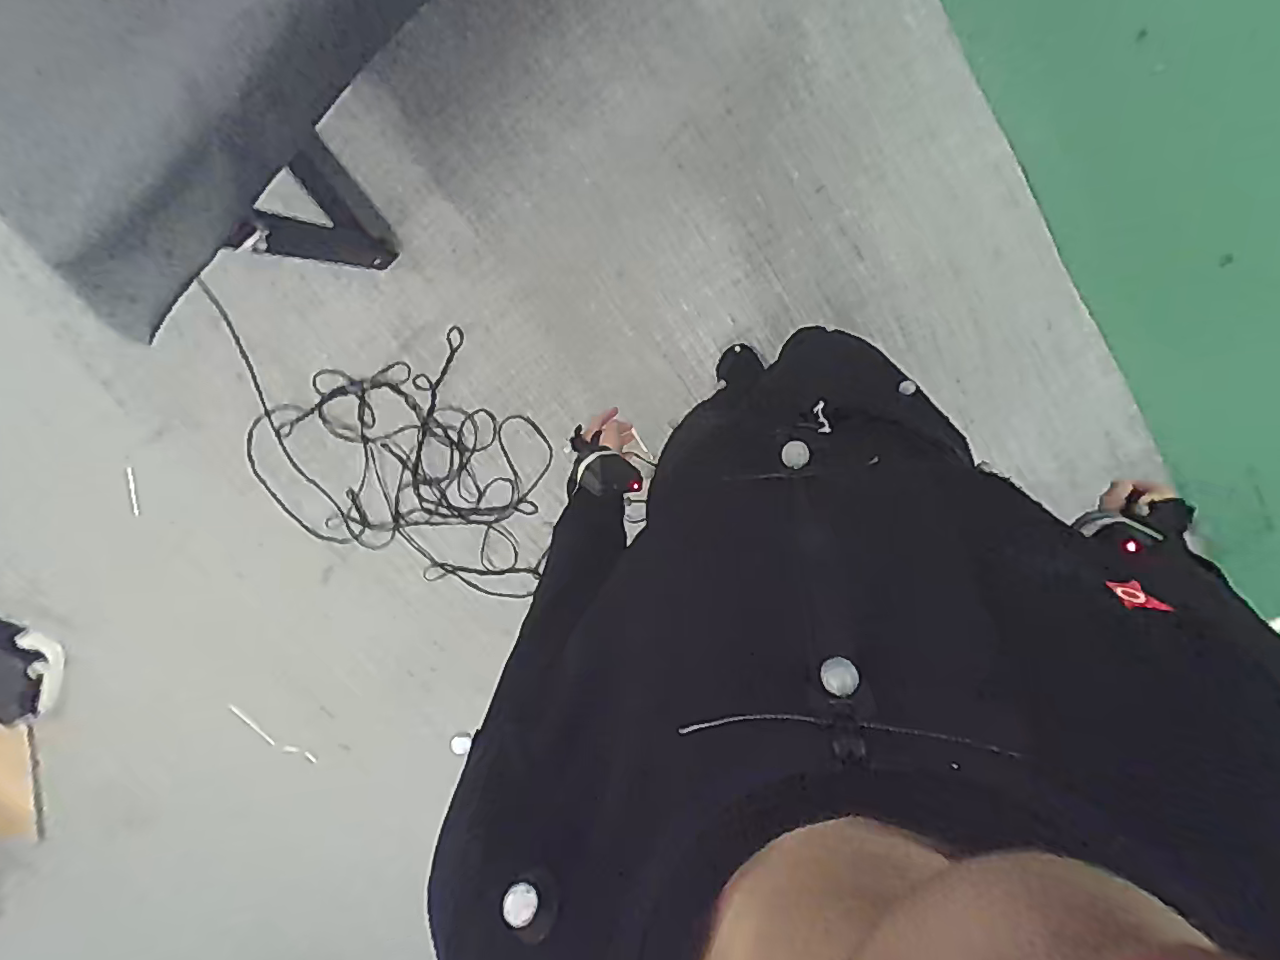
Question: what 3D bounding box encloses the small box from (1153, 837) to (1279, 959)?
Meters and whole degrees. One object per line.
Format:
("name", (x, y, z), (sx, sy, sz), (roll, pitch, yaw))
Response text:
("small box", (0.972, 0.708, 0.839), (0.168, 0.176, 0.179), (-33, 102, 13))
